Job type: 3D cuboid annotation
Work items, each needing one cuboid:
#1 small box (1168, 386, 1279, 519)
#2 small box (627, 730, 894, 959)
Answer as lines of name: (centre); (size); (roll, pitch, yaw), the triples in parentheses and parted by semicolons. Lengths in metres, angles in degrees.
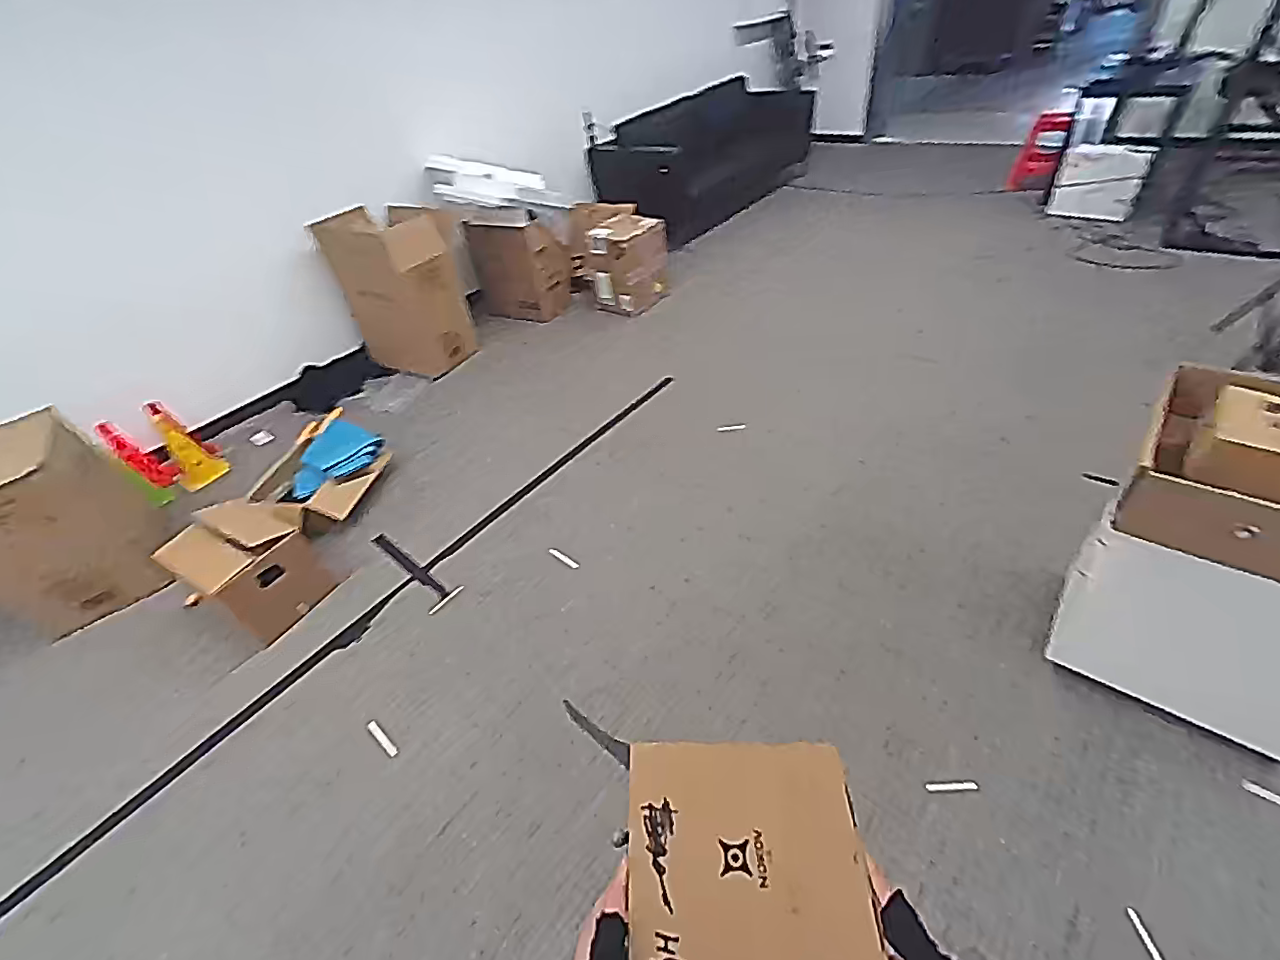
small box: (1.223, -0.056, 1.095); (0.168, 0.176, 0.179); (24, 57, 32)
small box: (0.081, 0.329, 0.452); (0.179, 0.176, 0.168); (2, 44, 0)
